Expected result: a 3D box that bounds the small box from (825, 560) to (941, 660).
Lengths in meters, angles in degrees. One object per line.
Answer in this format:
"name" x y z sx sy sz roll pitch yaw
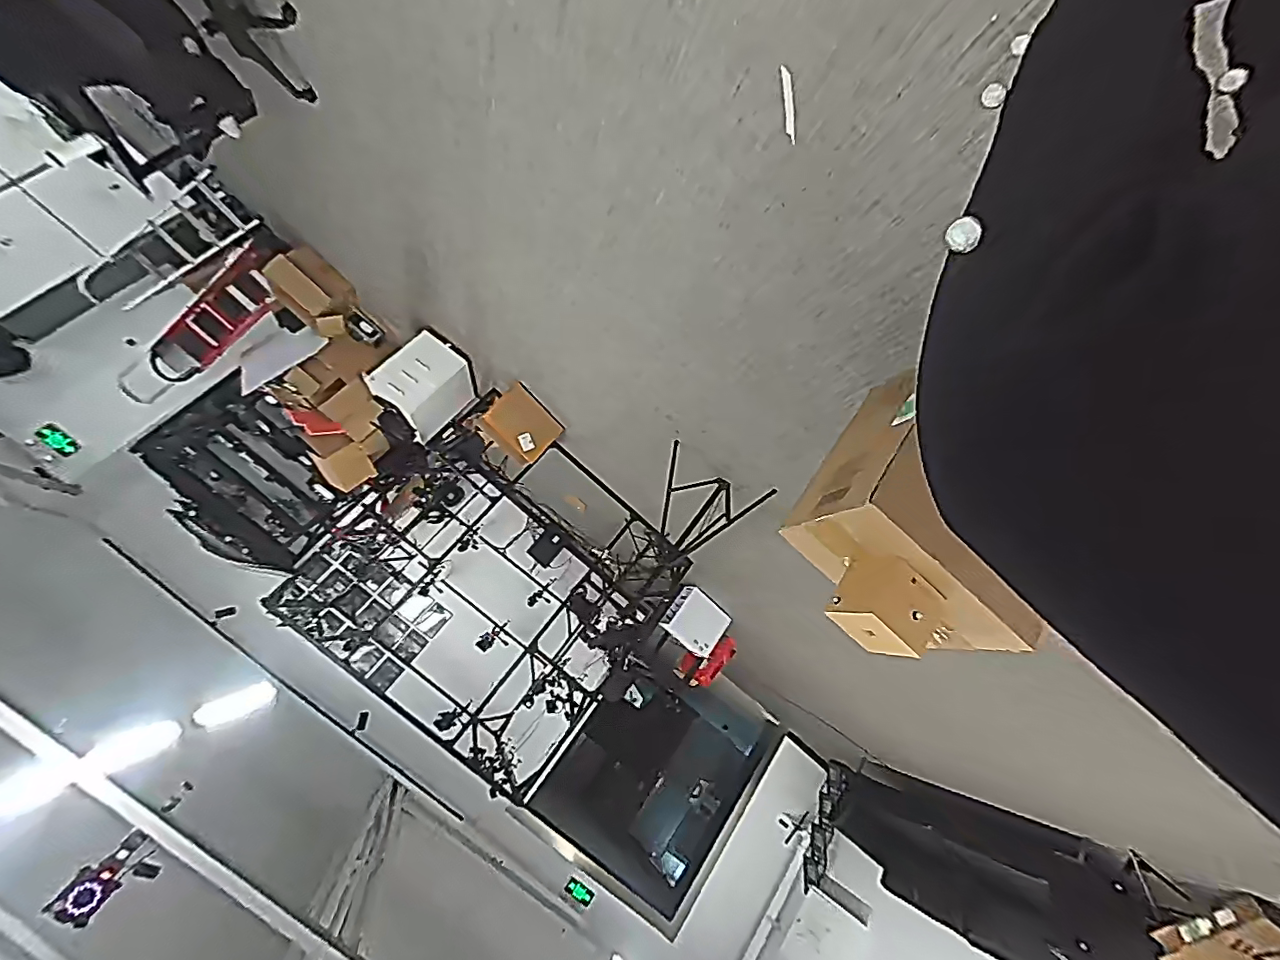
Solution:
"small box" 0.592 0.308 1.305 0.168 0.176 0.179 42 159 -6
